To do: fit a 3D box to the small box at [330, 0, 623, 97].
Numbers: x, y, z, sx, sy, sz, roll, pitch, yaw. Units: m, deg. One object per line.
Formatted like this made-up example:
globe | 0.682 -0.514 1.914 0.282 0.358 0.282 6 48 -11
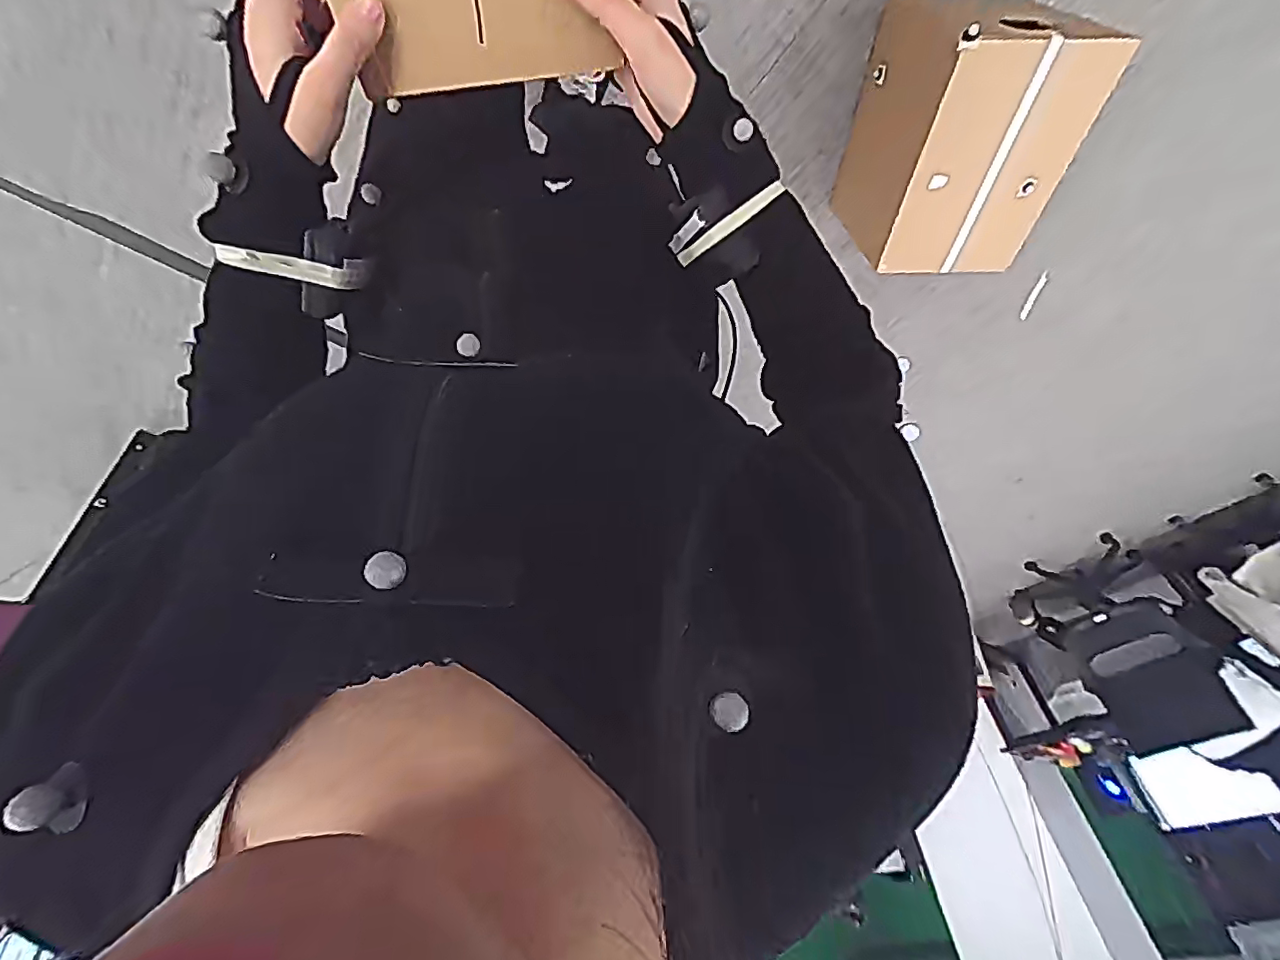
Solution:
small box | -0.104 -0.365 0.325 0.168 0.176 0.179 -7 142 -1
